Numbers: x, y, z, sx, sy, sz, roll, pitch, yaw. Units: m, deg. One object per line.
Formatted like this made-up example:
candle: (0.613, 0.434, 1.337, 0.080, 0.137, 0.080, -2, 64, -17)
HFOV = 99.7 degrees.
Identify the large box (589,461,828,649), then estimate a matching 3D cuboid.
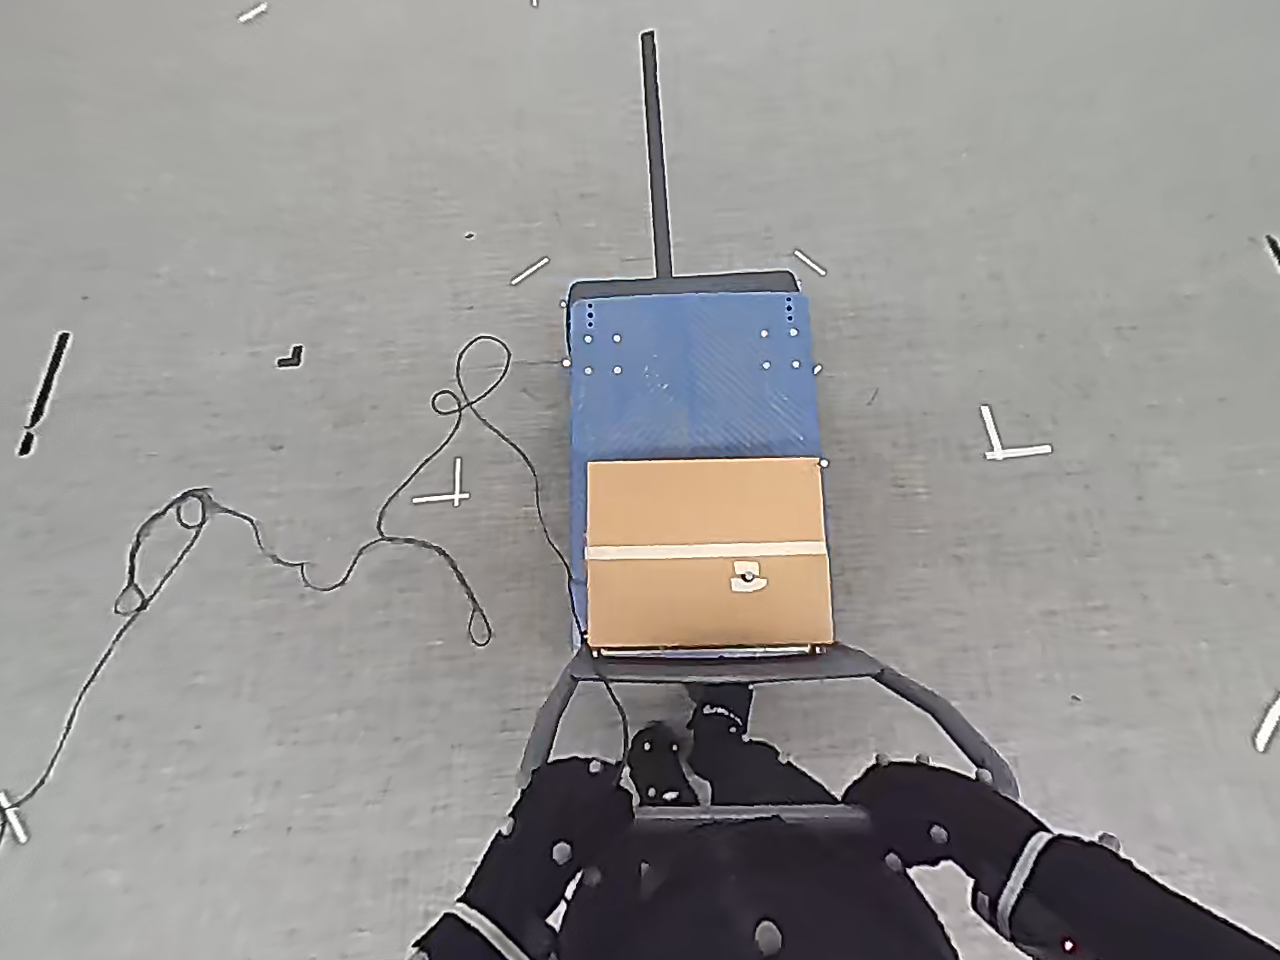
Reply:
large box: (0.113, 0.151, 1.080, 0.408, 0.320, 0.320, -1, 81, 0)
